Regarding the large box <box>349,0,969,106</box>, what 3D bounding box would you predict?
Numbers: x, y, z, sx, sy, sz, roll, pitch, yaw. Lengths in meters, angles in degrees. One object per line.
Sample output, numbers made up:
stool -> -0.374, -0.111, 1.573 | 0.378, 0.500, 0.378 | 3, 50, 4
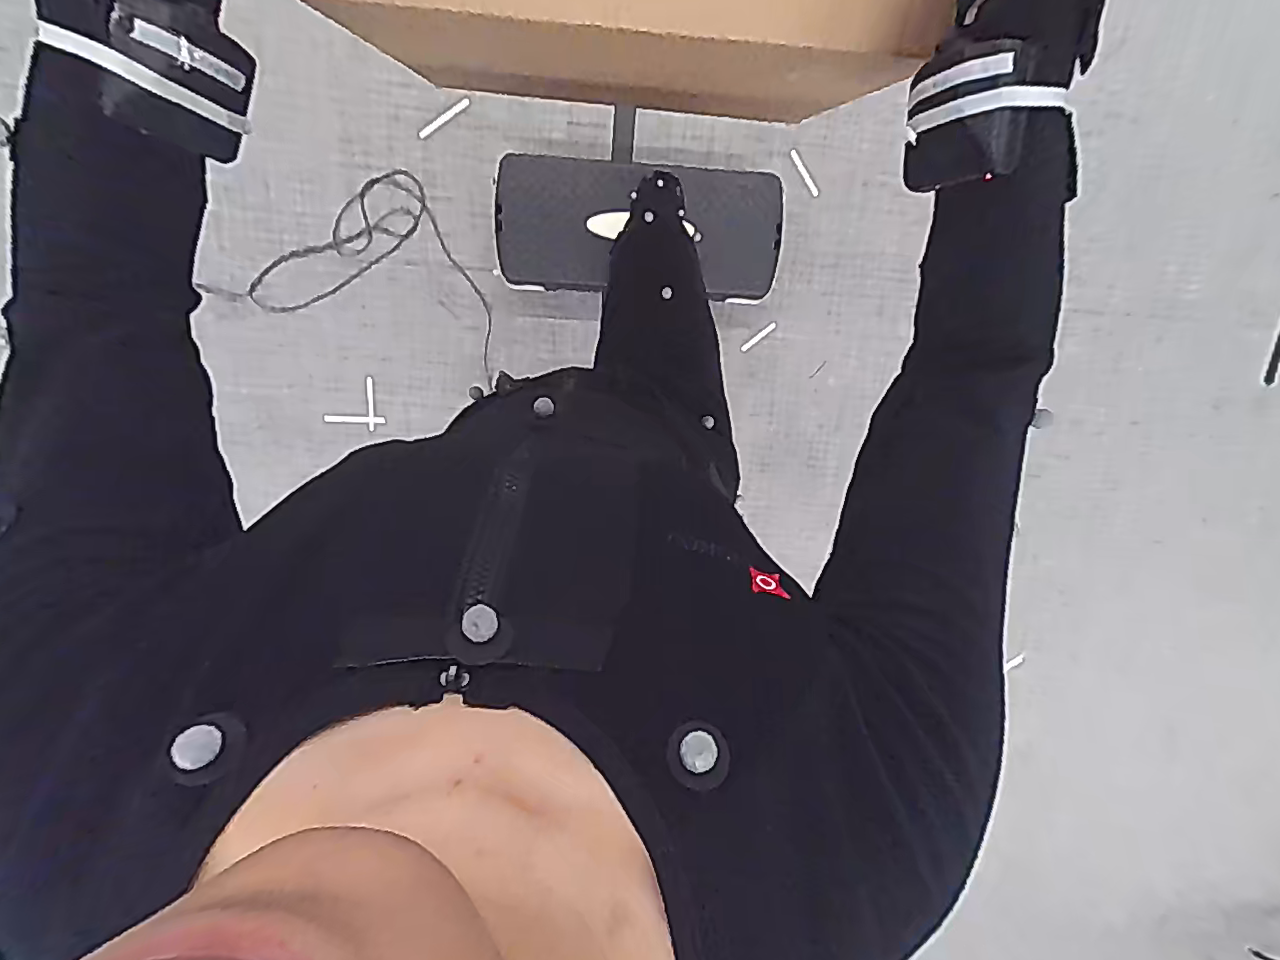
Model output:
large box -> 0.002, -0.488, 0.389 | 0.408, 0.320, 0.320 | 1, 118, -5
